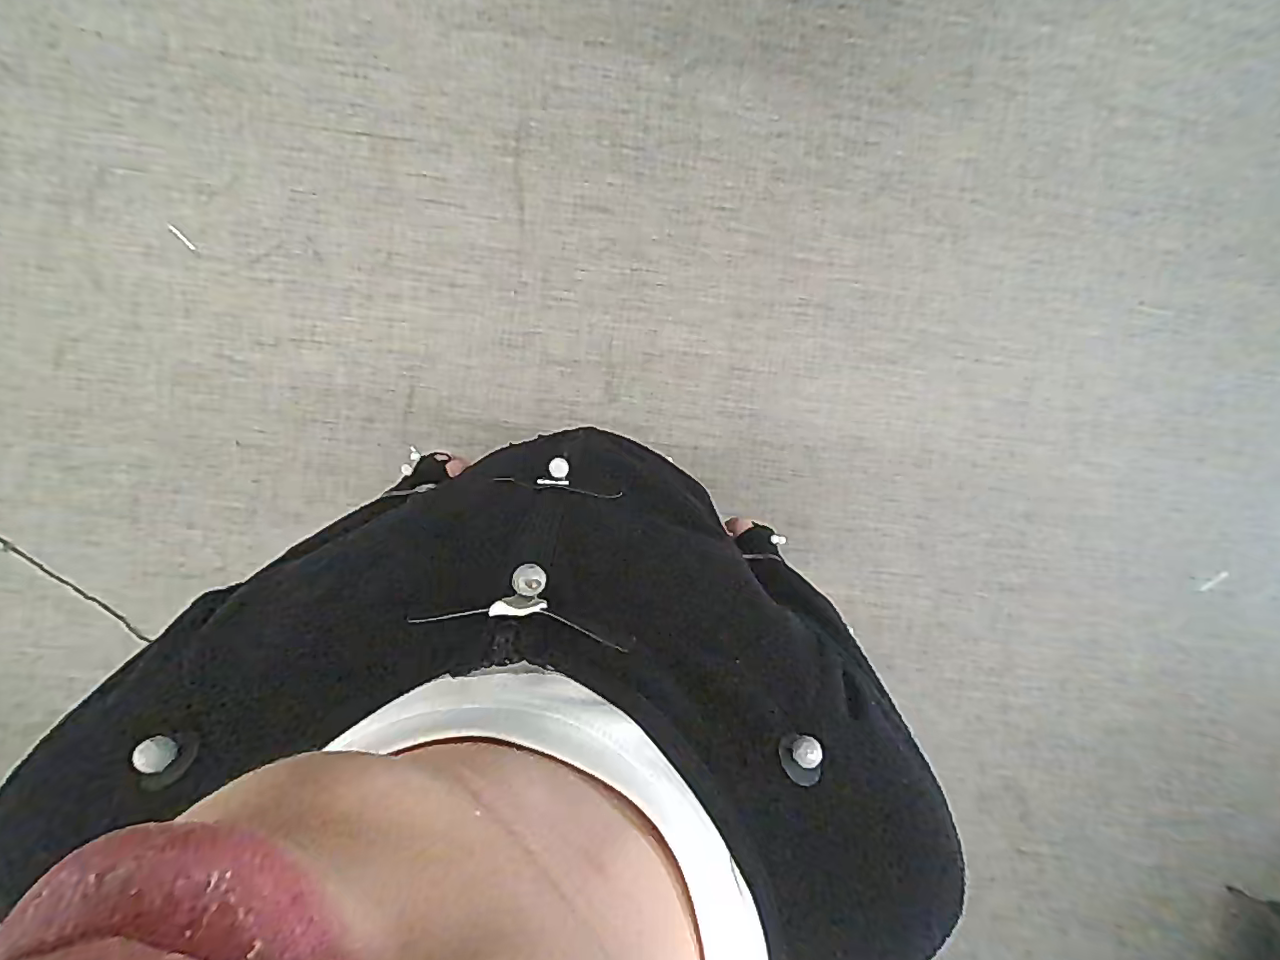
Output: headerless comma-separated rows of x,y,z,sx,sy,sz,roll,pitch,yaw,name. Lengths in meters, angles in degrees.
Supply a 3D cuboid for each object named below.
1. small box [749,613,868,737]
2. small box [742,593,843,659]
0.366,0.426,1.215,0.168,0.176,0.179,30,93,-3,small box
0.379,0.405,1.381,0.179,0.176,0.168,19,95,-6,small box
